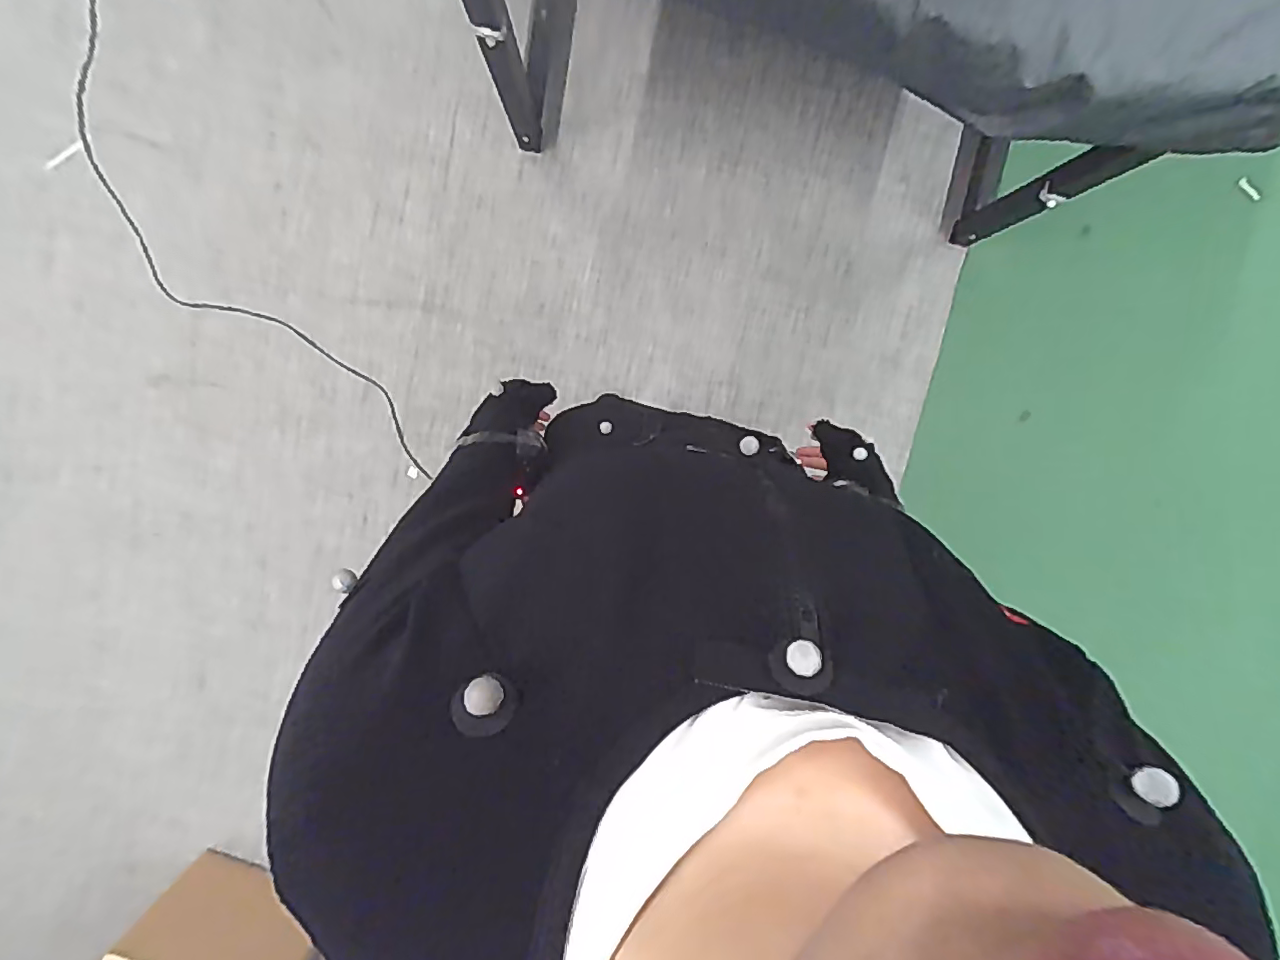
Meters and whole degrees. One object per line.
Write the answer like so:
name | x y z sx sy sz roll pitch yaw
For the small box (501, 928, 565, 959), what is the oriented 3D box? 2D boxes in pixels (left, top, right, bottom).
small box | -0.311 1.409 1.516 0.179 0.176 0.168 7 97 -2
